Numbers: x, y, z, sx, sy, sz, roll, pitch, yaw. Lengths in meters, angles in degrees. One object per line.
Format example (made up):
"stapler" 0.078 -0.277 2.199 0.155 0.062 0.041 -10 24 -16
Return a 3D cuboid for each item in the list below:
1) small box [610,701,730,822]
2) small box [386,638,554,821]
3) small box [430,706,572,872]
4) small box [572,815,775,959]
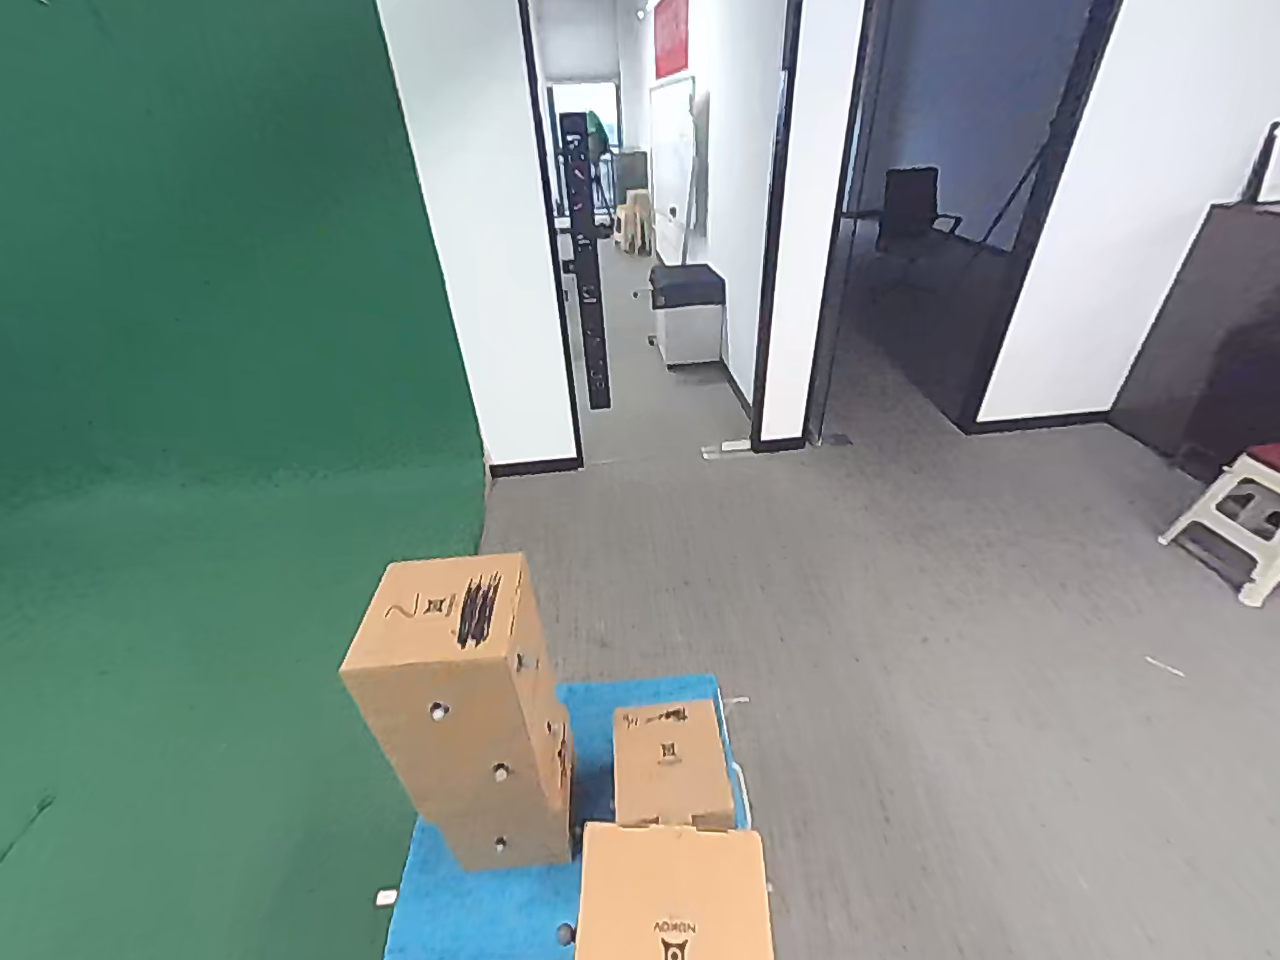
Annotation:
"small box" 0.041 0.473 0.837 0.168 0.176 0.179 -4 34 -2
"small box" -0.217 0.345 0.751 0.179 0.176 0.168 -4 33 -2
"small box" -0.202 0.480 0.844 0.179 0.176 0.168 -4 33 -2
"small box" 0.023 0.431 0.496 0.168 0.176 0.179 4 45 -2
